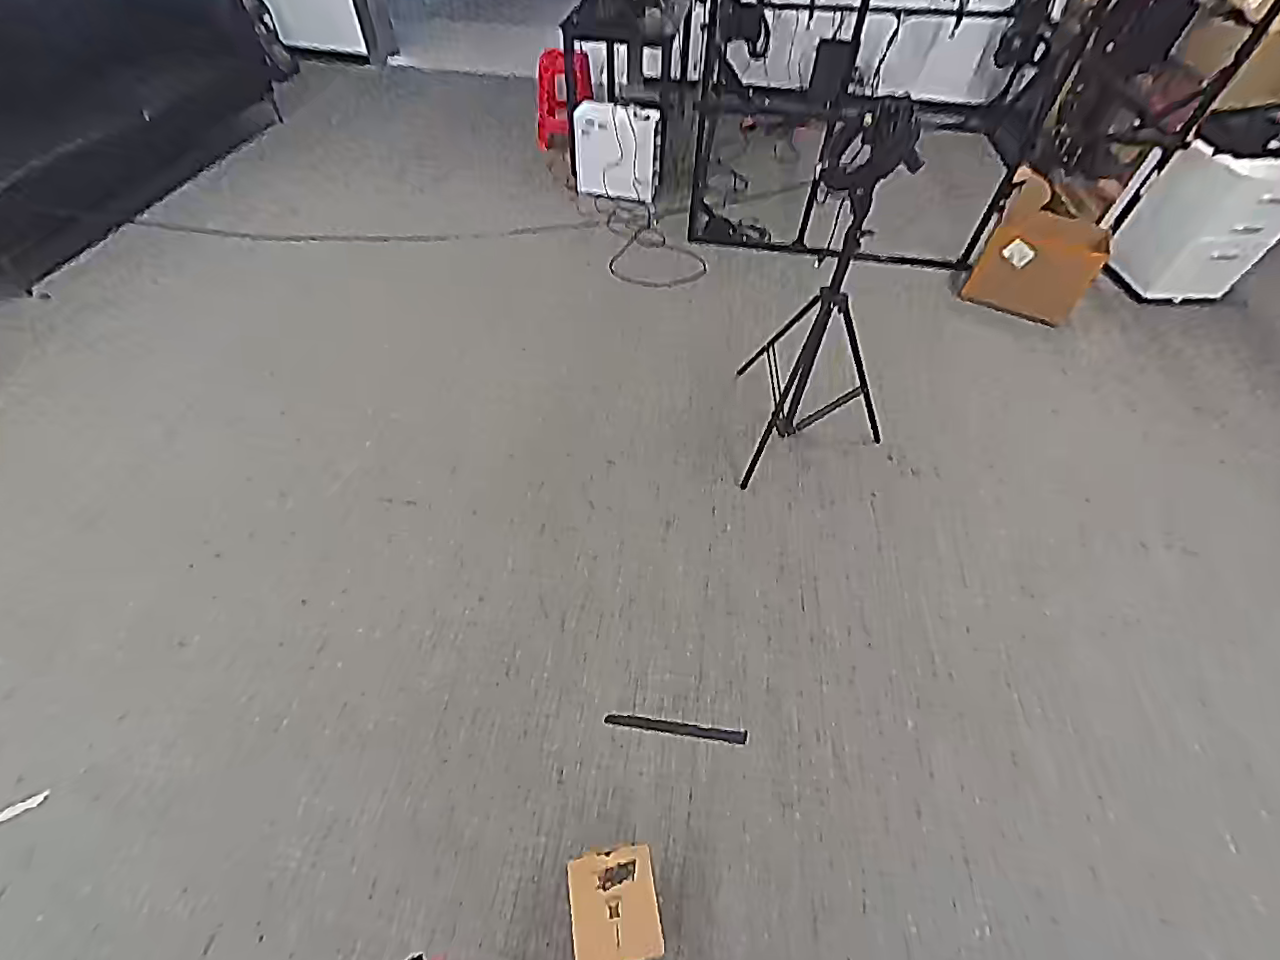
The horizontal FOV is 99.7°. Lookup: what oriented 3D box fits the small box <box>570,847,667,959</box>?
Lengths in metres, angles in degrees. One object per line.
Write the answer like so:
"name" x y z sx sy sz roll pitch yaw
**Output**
"small box" -0.048 0.861 1.082 0.168 0.176 0.179 -7 52 -8
